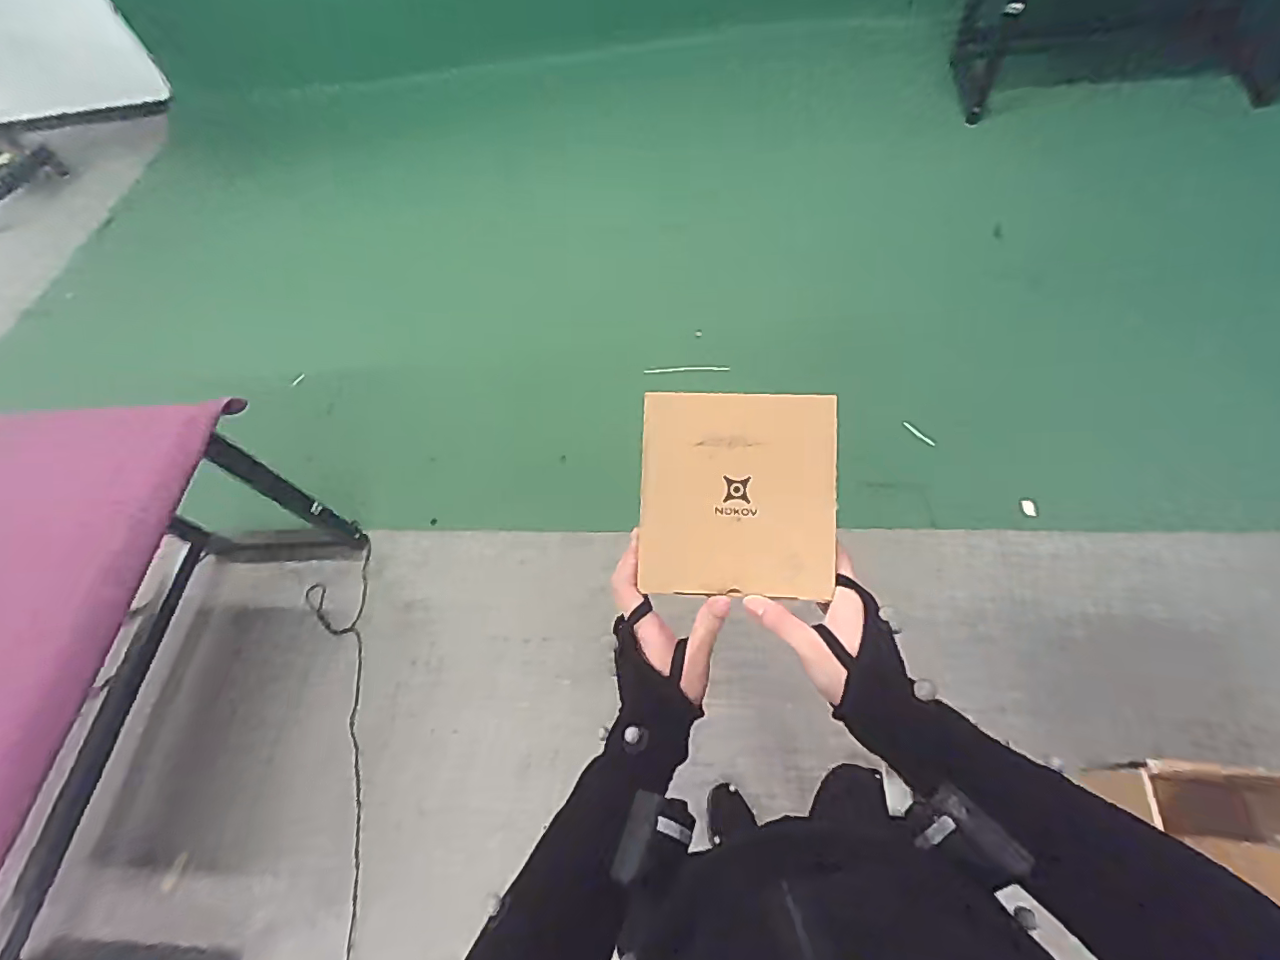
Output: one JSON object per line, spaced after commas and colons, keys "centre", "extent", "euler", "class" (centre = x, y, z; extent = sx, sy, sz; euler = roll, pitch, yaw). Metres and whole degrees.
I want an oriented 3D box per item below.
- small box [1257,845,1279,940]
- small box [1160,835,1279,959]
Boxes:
{"centre": [0.882, 0.529, 0.614], "extent": [0.179, 0.176, 0.168], "euler": [2, 62, 10], "class": "small box"}
{"centre": [0.903, 0.608, 0.755], "extent": [0.179, 0.176, 0.168], "euler": [3, 61, 9], "class": "small box"}
